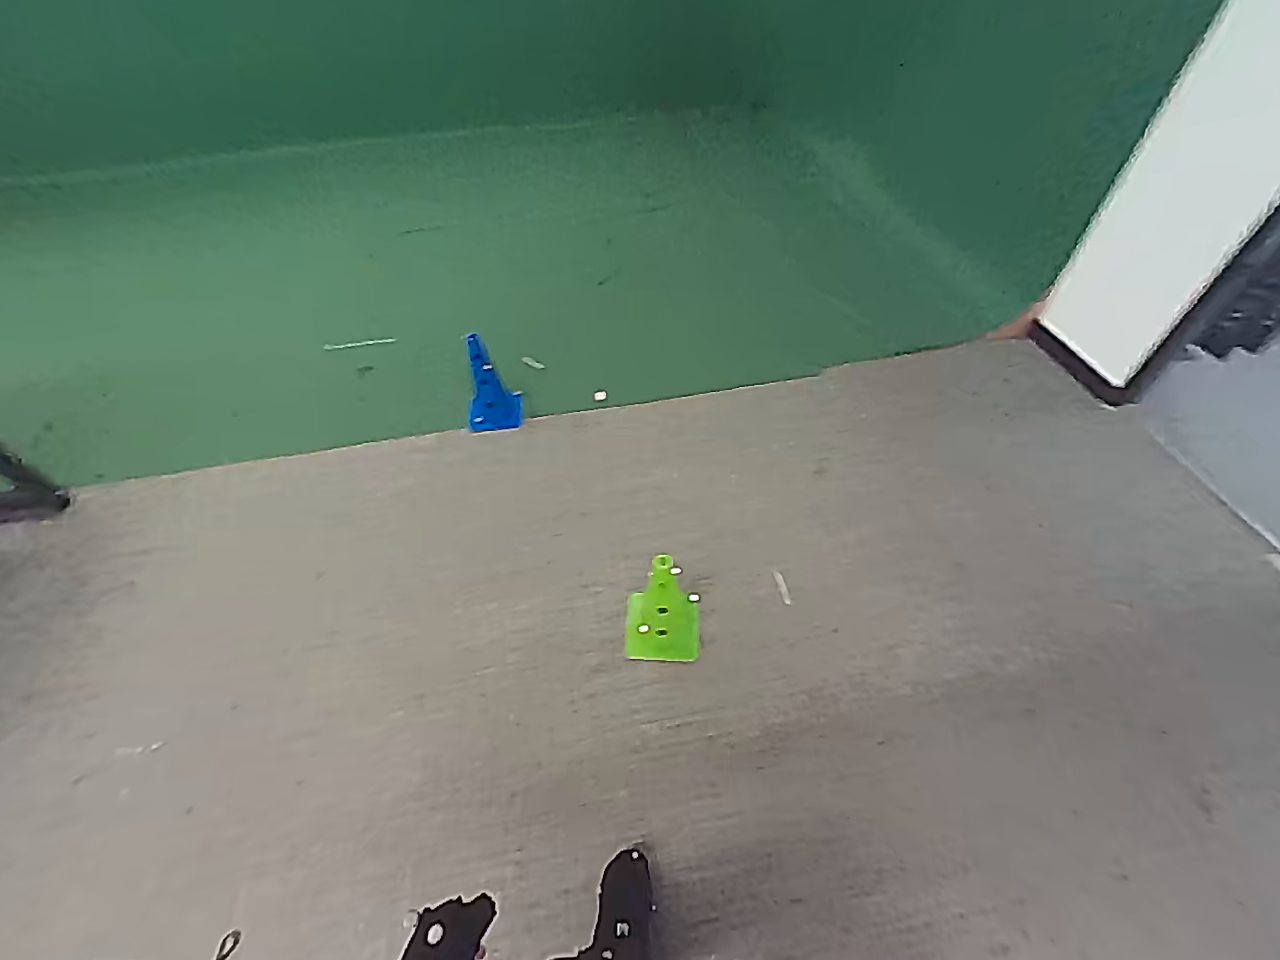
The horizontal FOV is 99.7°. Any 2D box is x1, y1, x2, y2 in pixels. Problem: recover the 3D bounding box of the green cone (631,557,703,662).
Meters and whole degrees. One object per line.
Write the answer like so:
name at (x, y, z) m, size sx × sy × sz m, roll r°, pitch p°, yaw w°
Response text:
green cone at (0.068, 0.307, 1.406) m, size 0.200 × 0.368 × 0.202 m, roll 0°, pitch 50°, yaw 4°
